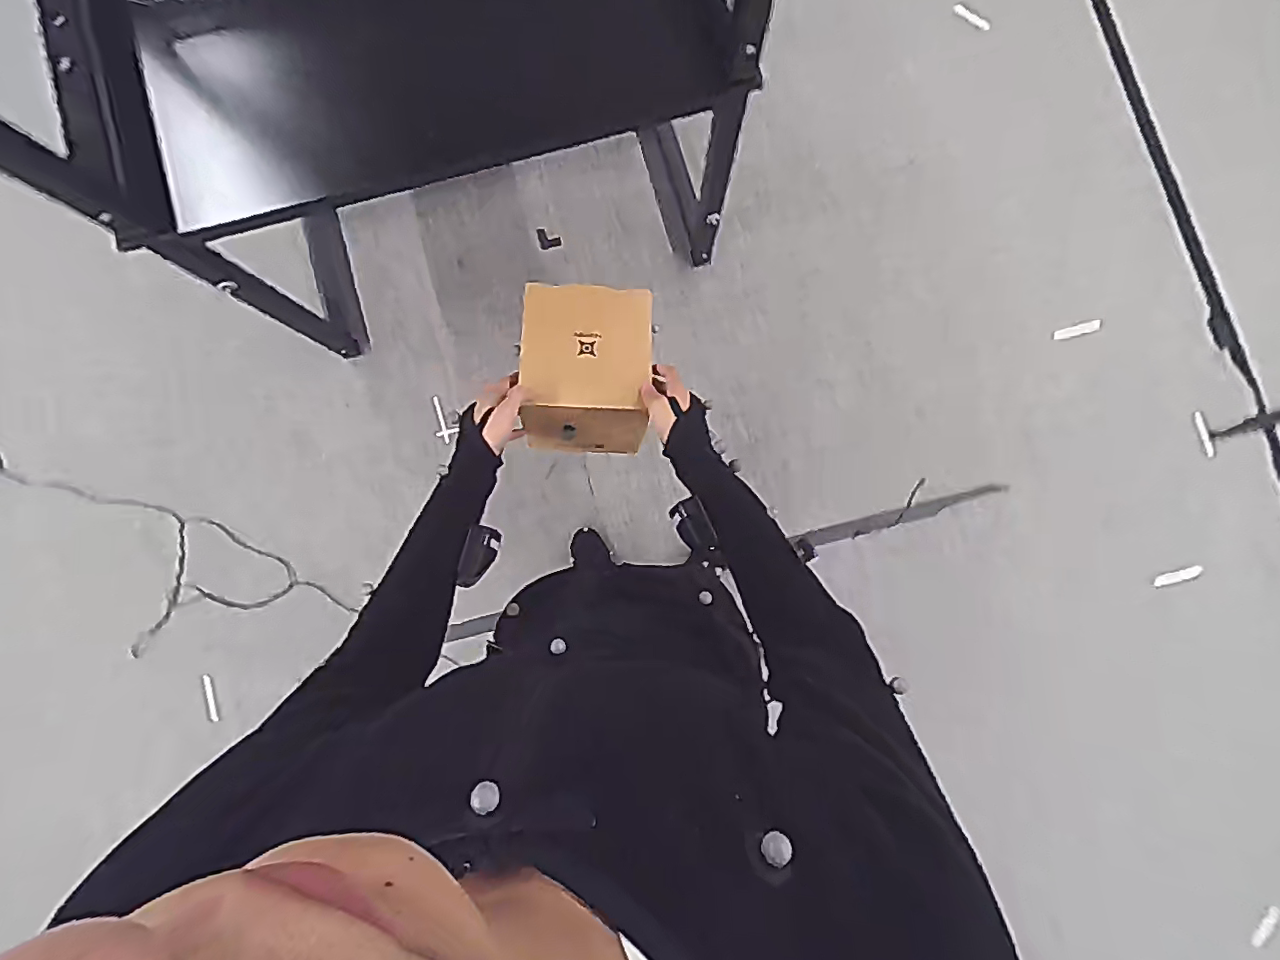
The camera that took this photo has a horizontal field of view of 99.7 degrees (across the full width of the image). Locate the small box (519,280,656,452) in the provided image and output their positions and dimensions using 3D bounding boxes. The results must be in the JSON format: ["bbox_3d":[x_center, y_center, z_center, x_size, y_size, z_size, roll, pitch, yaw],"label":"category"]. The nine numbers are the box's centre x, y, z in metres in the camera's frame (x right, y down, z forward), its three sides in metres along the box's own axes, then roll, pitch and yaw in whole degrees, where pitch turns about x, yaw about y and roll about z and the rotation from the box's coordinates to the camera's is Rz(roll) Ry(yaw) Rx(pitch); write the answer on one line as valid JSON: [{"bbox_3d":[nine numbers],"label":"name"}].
[{"bbox_3d":[-0.069,-0.148,0.752,0.168,0.176,0.179,3,72,-6],"label":"small box"}]
